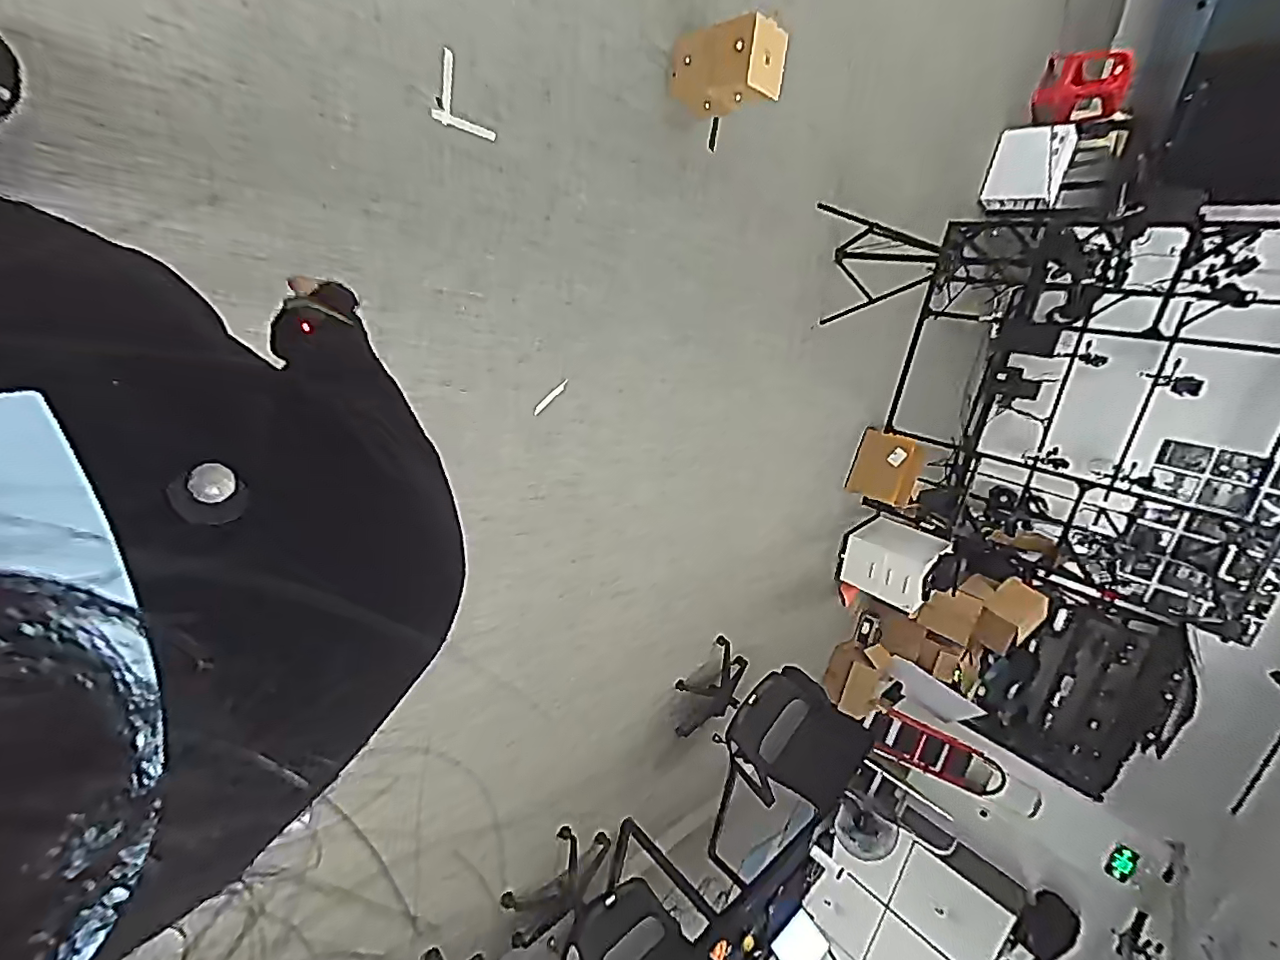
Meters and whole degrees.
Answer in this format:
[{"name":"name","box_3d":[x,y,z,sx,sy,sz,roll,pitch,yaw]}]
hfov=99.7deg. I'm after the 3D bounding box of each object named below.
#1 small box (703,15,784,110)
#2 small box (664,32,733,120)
[{"name":"small box","box_3d":[0.310,-1.256,1.646,0.168,0.176,0.179,-11,116,-43]},{"name":"small box","box_3d":[0.204,-1.302,1.761,0.179,0.176,0.168,-1,109,-47]}]
